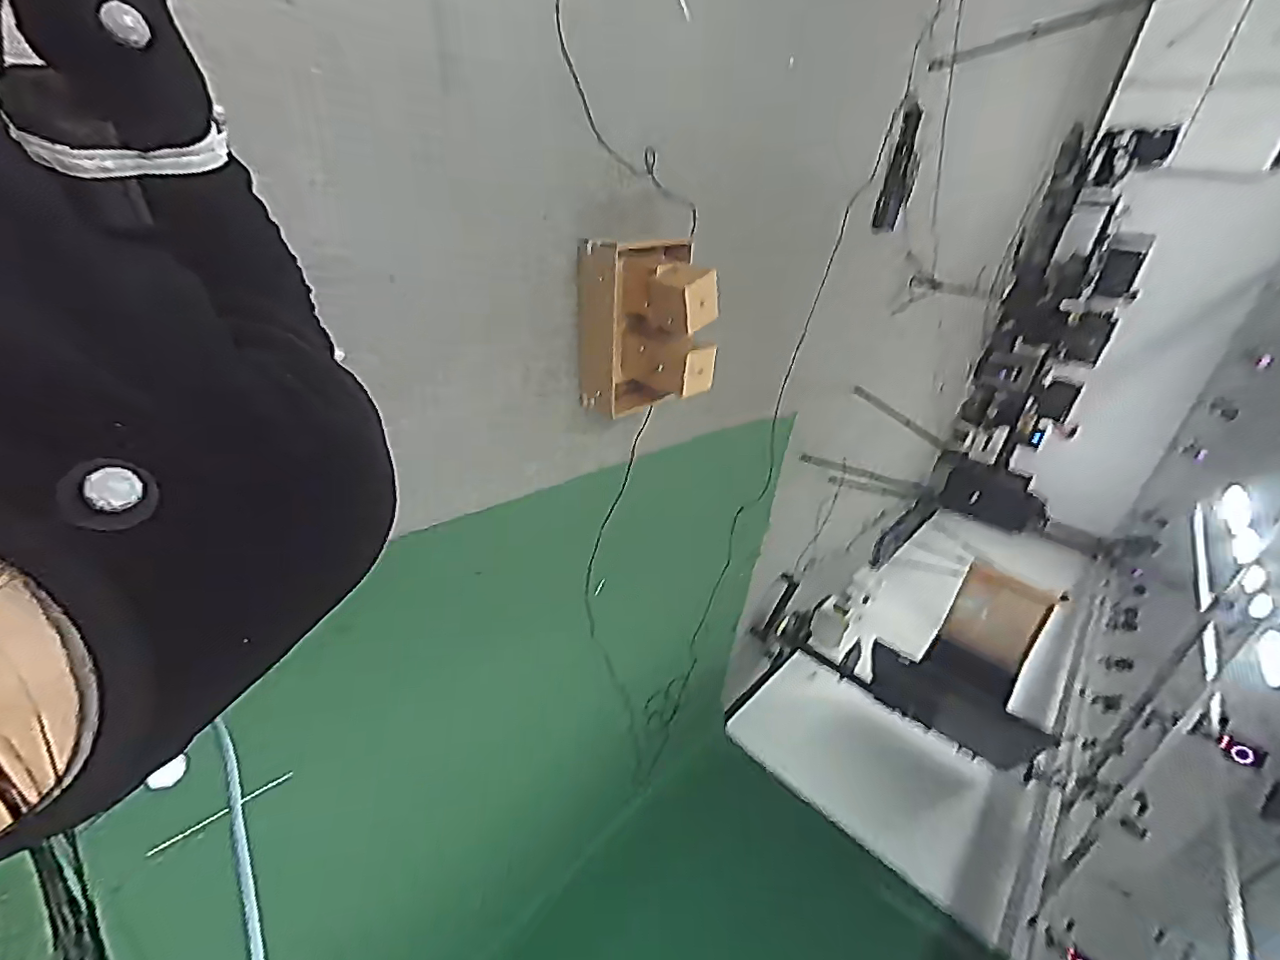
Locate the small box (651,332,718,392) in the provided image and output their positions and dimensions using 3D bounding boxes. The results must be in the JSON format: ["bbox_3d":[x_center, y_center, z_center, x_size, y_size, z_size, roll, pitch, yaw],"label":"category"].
[{"bbox_3d":[0.165,-0.449,2.034,0.179,0.176,0.168,-24,130,-40],"label":"small box"}]

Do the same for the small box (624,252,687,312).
[{"bbox_3d":[0.055,-0.734,1.990,0.168,0.176,0.179,-25,133,-38],"label":"small box"}]

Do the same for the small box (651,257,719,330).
[{"bbox_3d":[0.158,-0.655,1.890,0.168,0.176,0.179,-39,140,-26],"label":"small box"}]
